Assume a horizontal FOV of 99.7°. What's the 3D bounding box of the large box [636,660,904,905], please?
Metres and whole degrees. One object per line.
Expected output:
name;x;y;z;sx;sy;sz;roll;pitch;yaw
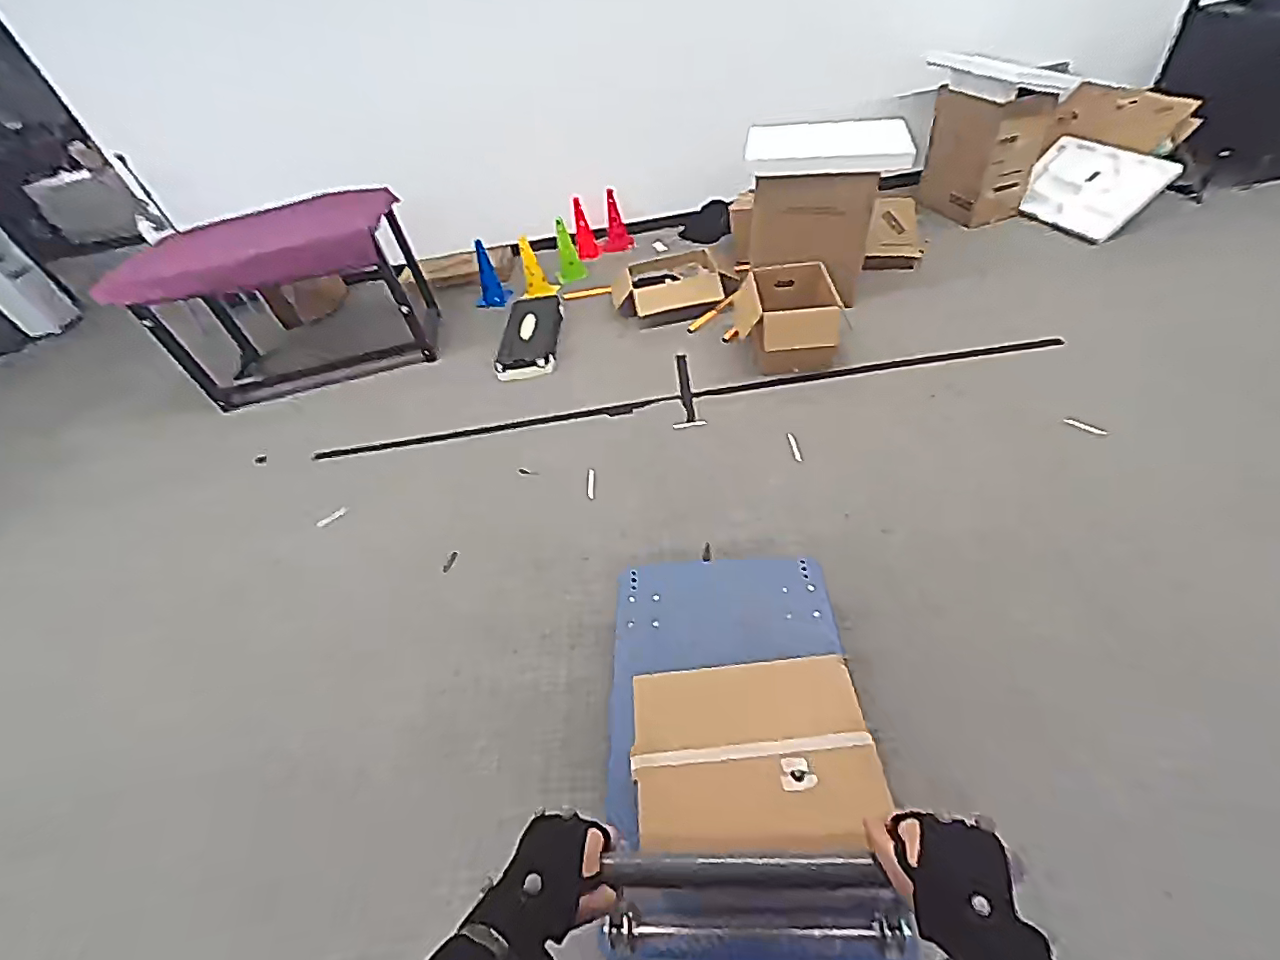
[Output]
large box;0.215;0.582;1.037;0.408;0.320;0.320;-7;45;3
